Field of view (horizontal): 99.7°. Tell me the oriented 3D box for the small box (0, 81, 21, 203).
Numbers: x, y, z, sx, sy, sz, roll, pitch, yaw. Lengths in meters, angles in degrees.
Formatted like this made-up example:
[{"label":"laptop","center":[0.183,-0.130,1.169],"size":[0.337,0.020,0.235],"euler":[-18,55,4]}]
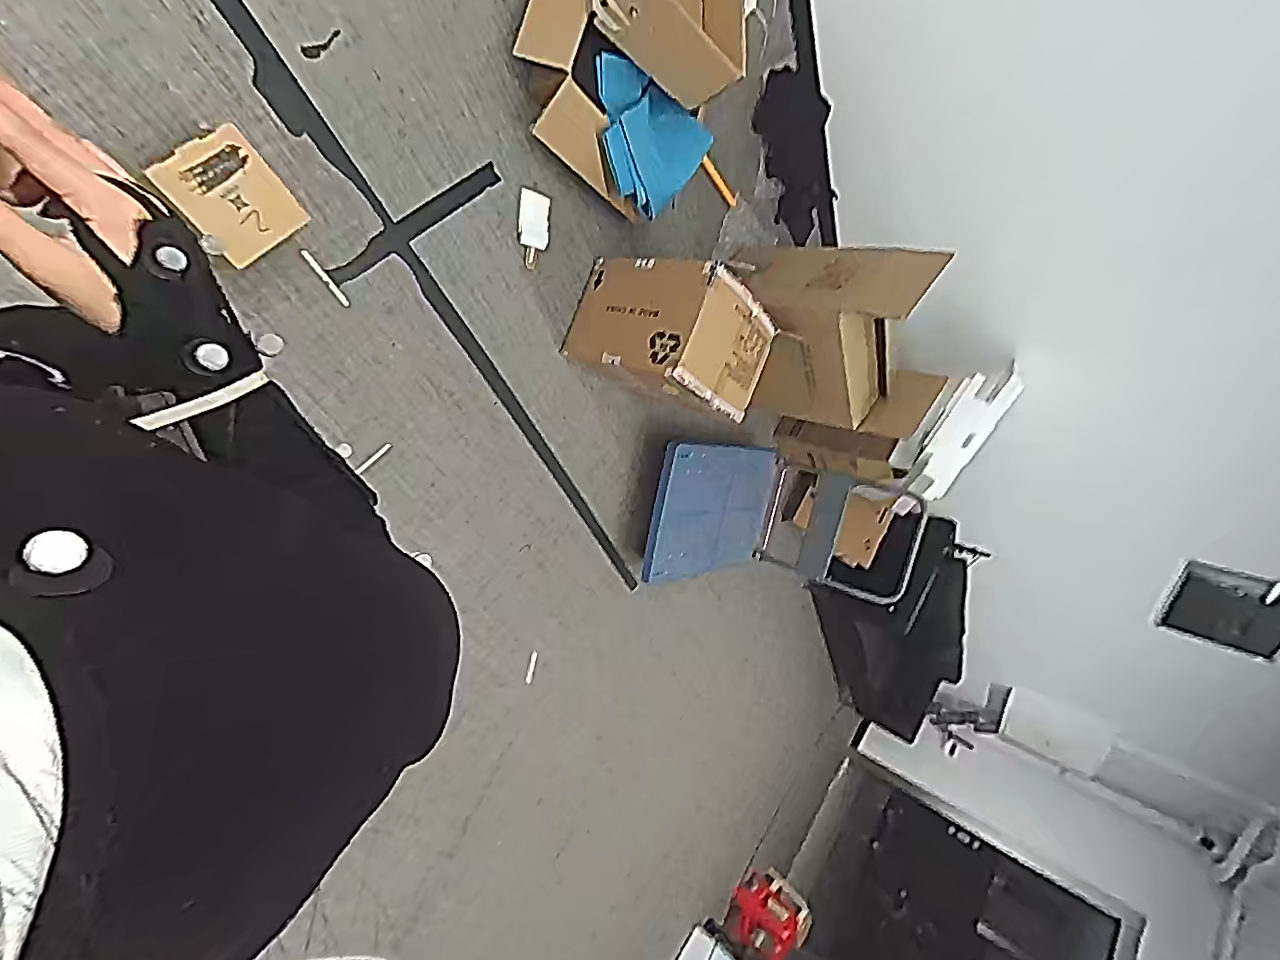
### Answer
[{"label":"small box","center":[-0.409,-0.229,0.225],"size":[0.168,0.176,0.179],"euler":[-11,115,-40]}]
